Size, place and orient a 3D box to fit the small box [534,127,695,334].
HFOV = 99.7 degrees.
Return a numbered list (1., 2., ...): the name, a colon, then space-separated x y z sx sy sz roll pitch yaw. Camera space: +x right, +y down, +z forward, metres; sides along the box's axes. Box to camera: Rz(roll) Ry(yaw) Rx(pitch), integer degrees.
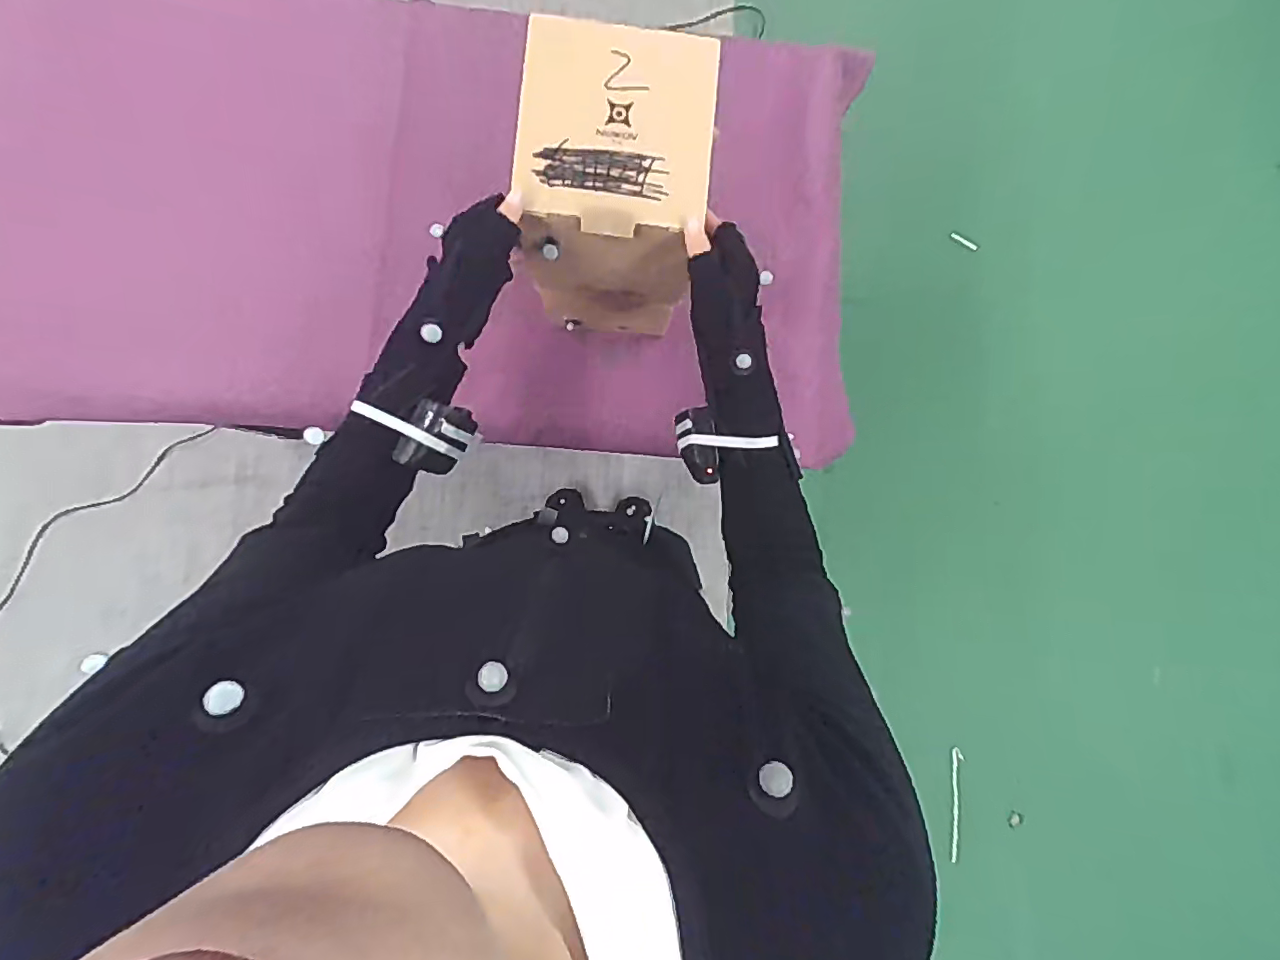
1. small box: -0.034 -0.302 0.694 0.168 0.176 0.179 8 88 -5
